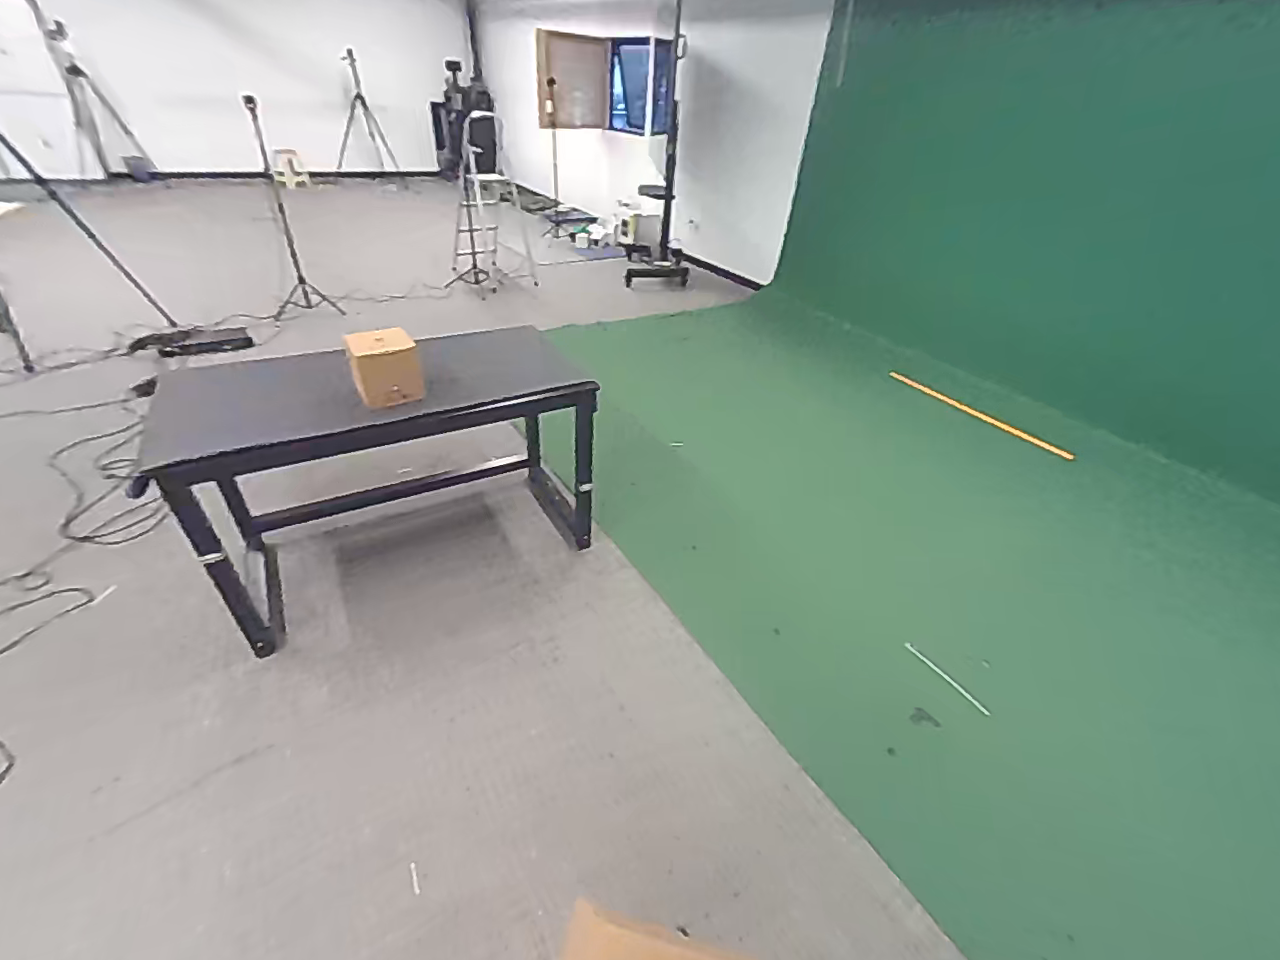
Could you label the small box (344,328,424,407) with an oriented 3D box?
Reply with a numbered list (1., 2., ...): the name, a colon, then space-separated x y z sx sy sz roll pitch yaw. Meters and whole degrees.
1. small box: -0.757 -0.334 1.604 0.168 0.176 0.179 -19 41 -29
